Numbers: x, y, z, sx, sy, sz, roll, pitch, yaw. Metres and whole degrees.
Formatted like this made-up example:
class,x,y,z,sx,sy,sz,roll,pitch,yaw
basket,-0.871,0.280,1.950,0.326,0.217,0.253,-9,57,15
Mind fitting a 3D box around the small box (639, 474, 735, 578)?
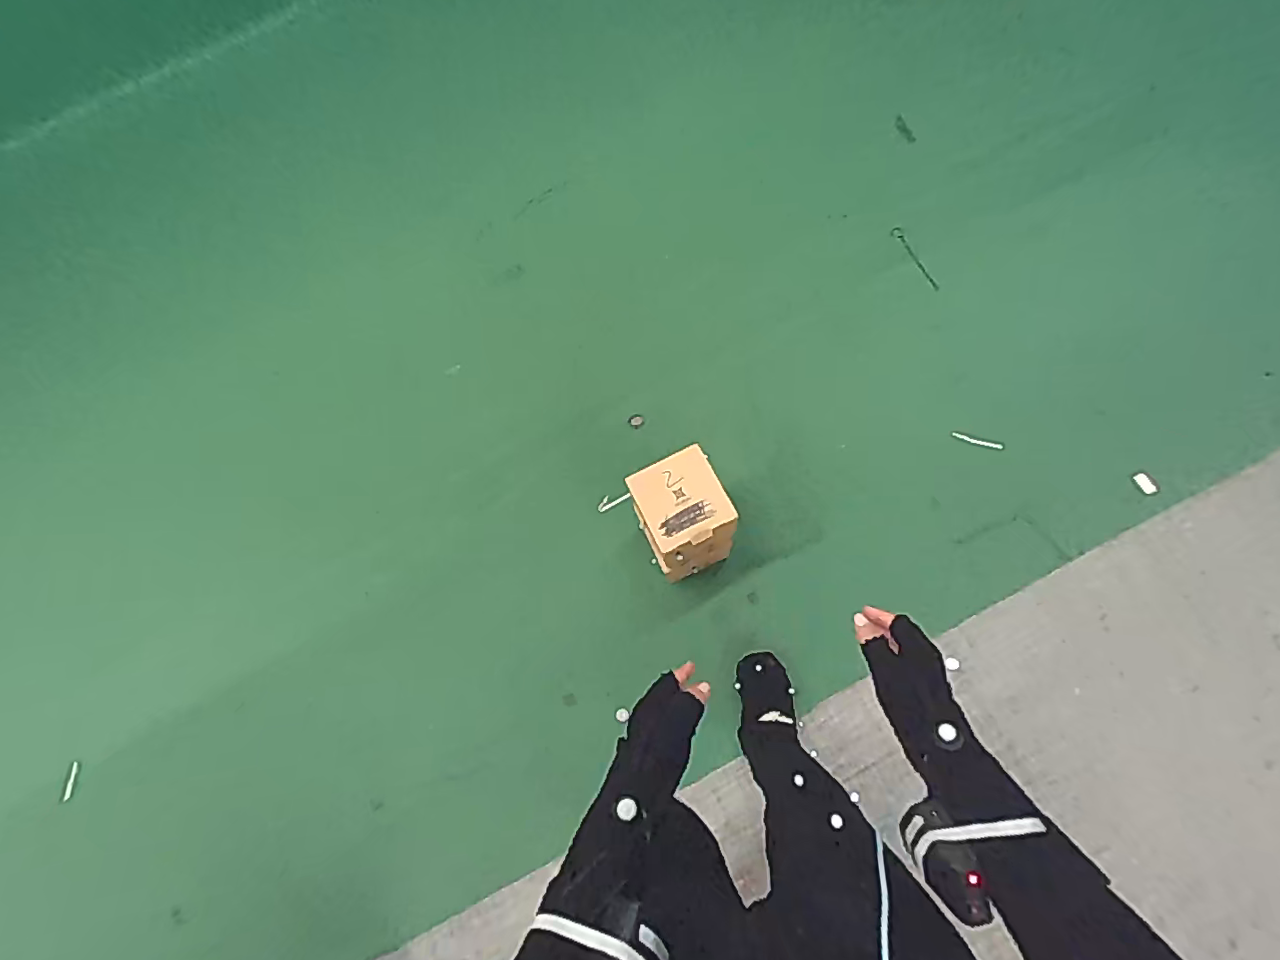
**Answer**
class,x,y,z,sx,sy,sz,roll,pitch,yaw
small box,0.110,0.115,1.285,0.168,0.176,0.179,-25,72,-2
